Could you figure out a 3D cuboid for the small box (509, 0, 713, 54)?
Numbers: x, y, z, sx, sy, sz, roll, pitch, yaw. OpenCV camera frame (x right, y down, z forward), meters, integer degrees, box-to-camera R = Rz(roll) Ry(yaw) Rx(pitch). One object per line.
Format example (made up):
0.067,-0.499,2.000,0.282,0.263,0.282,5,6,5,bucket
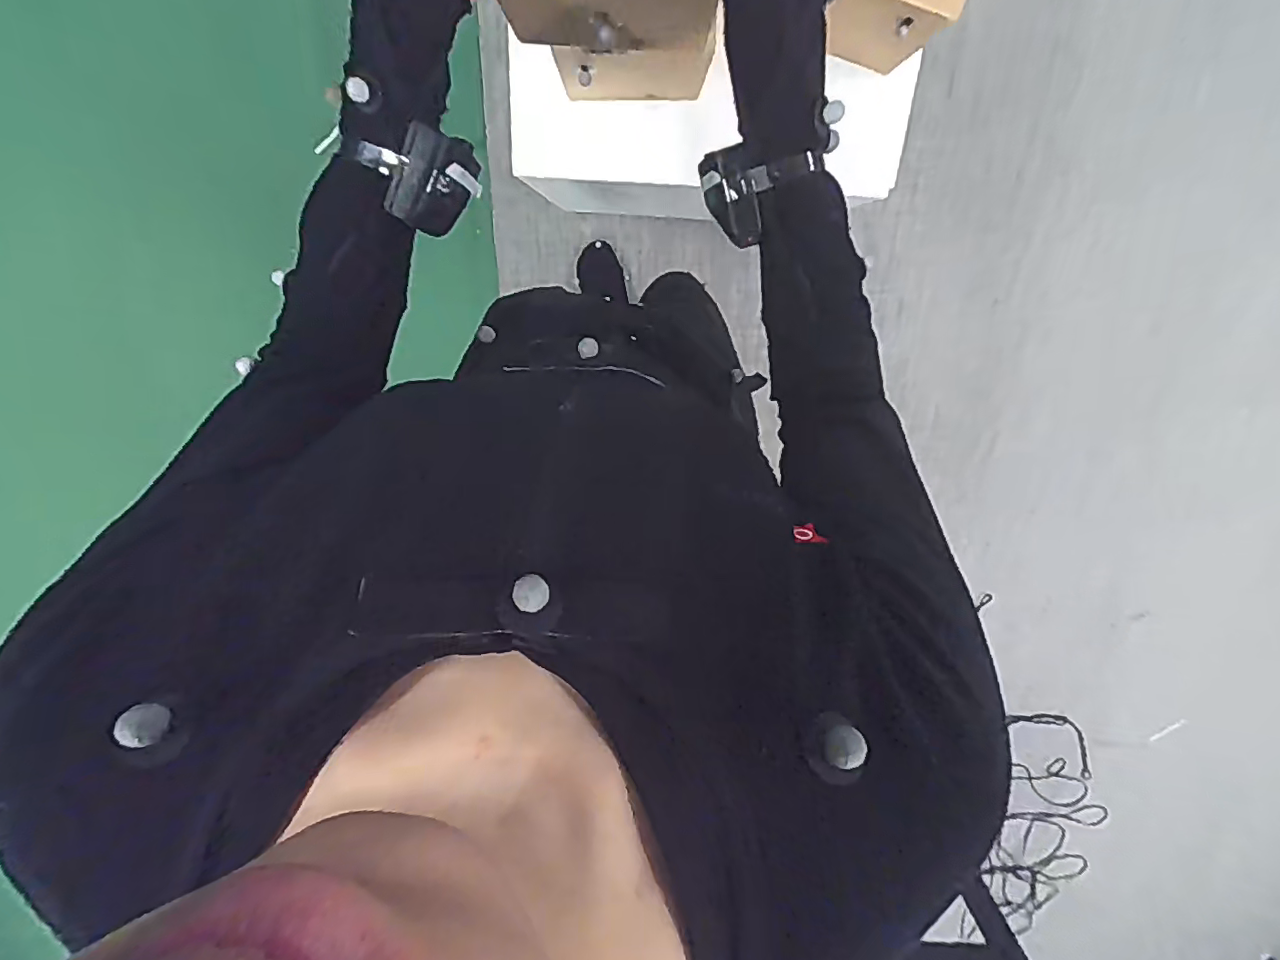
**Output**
-0.022,-0.434,0.368,0.168,0.176,0.179,4,109,0,small box

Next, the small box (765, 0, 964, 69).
0.248,-0.571,0.566,0.179,0.176,0.168,14,111,-5,small box
